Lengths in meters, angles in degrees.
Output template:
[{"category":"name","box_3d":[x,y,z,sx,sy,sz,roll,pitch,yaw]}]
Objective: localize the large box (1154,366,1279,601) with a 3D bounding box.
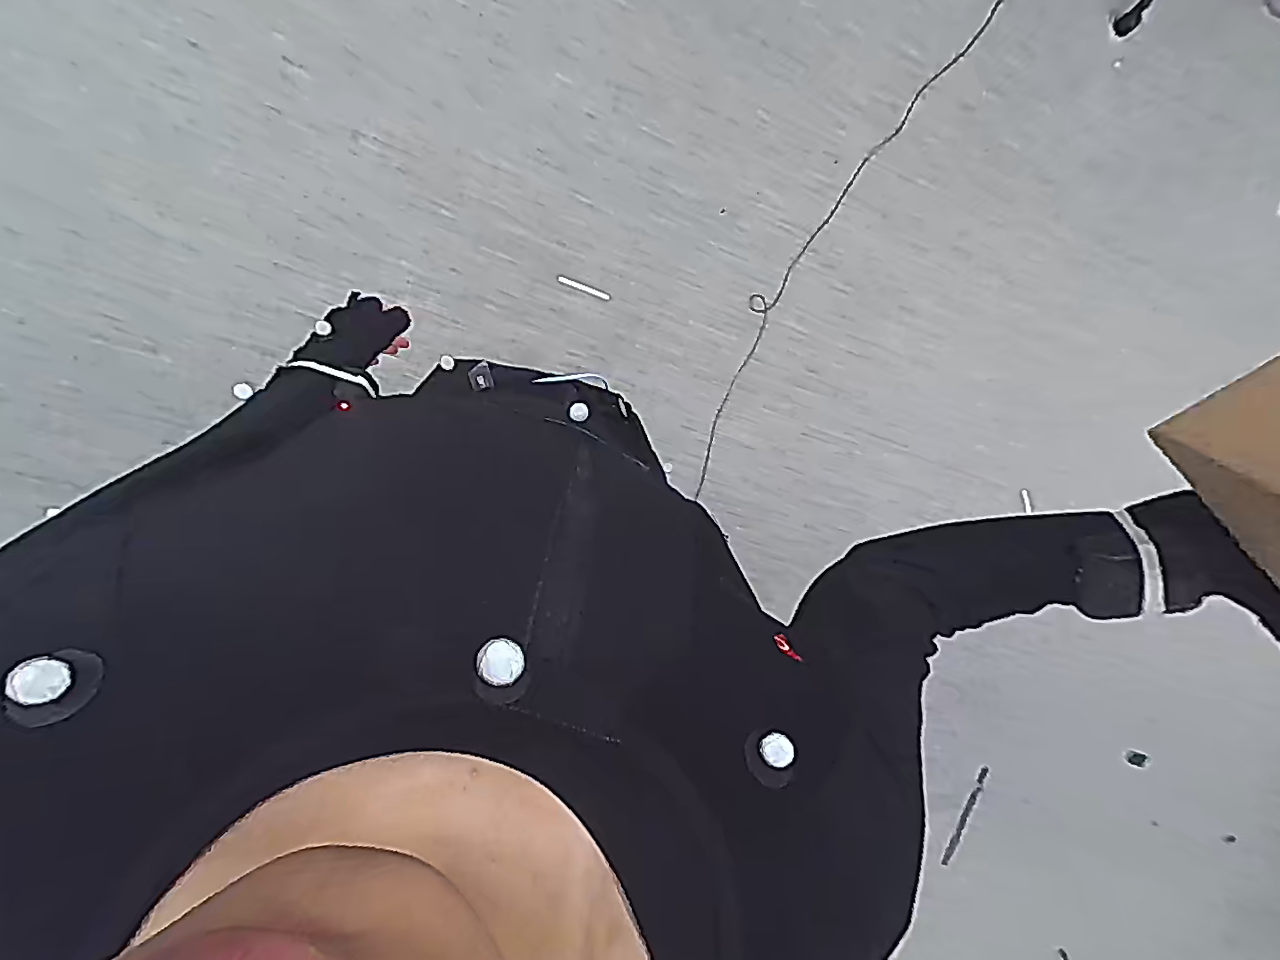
[{"category":"large box","box_3d":[0.462,0.062,0.114,0.320,0.408,0.320,-40,92,30]}]
